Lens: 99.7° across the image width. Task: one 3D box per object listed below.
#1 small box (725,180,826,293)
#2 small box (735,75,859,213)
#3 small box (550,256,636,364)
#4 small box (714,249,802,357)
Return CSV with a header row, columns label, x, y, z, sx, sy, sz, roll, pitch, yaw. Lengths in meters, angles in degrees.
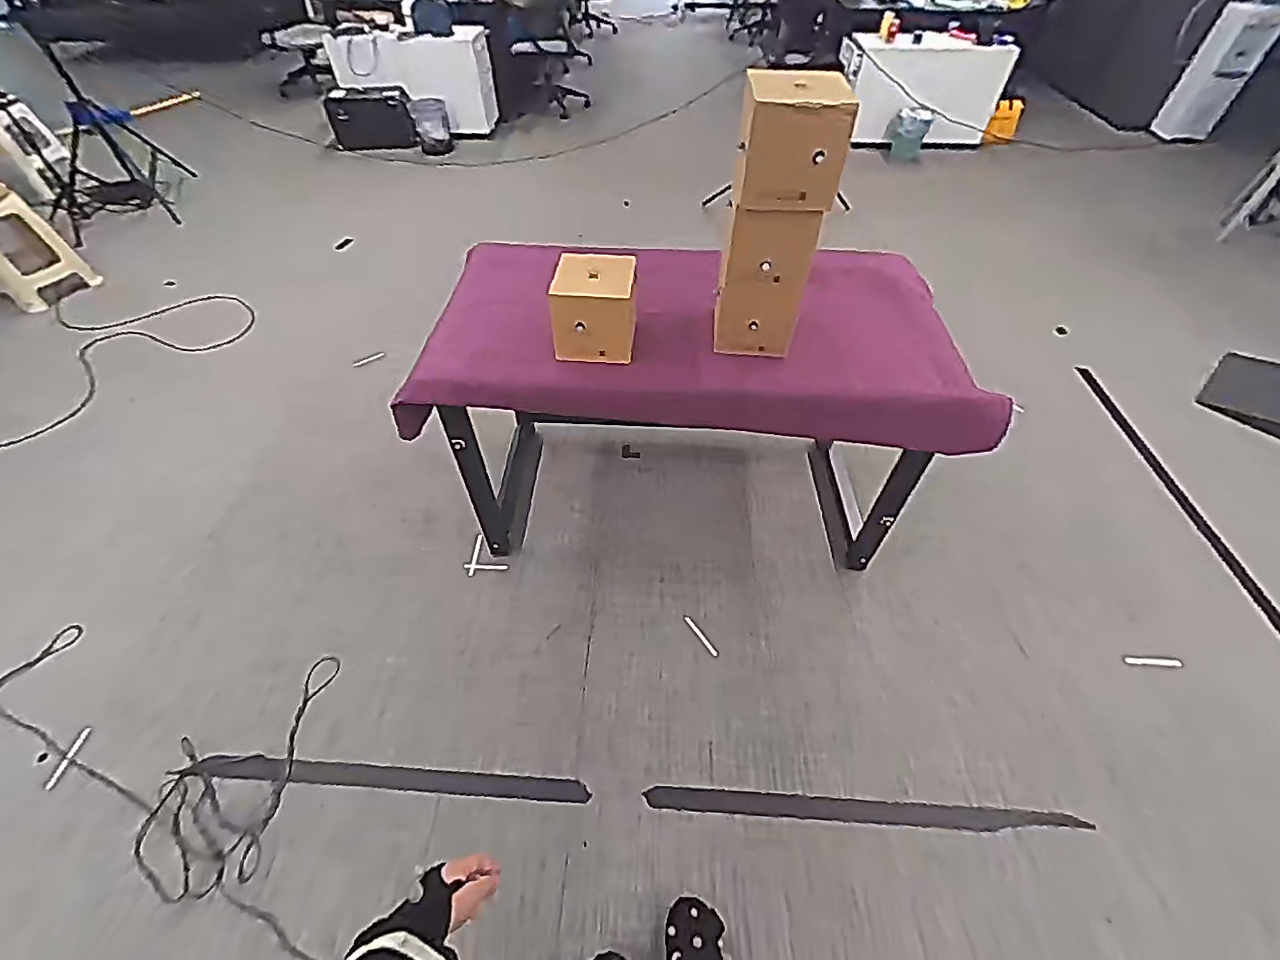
label,x,y,z,sx,sy,sz,roll,pitch,yaw
small box,0.263,-0.504,1.095,0.168,0.176,0.179,4,50,3
small box,0.265,-0.592,0.956,0.168,0.176,0.179,2,49,1
small box,-0.096,-0.373,1.197,0.168,0.176,0.179,3,49,2
small box,0.259,-0.395,1.218,0.168,0.176,0.179,5,50,3
